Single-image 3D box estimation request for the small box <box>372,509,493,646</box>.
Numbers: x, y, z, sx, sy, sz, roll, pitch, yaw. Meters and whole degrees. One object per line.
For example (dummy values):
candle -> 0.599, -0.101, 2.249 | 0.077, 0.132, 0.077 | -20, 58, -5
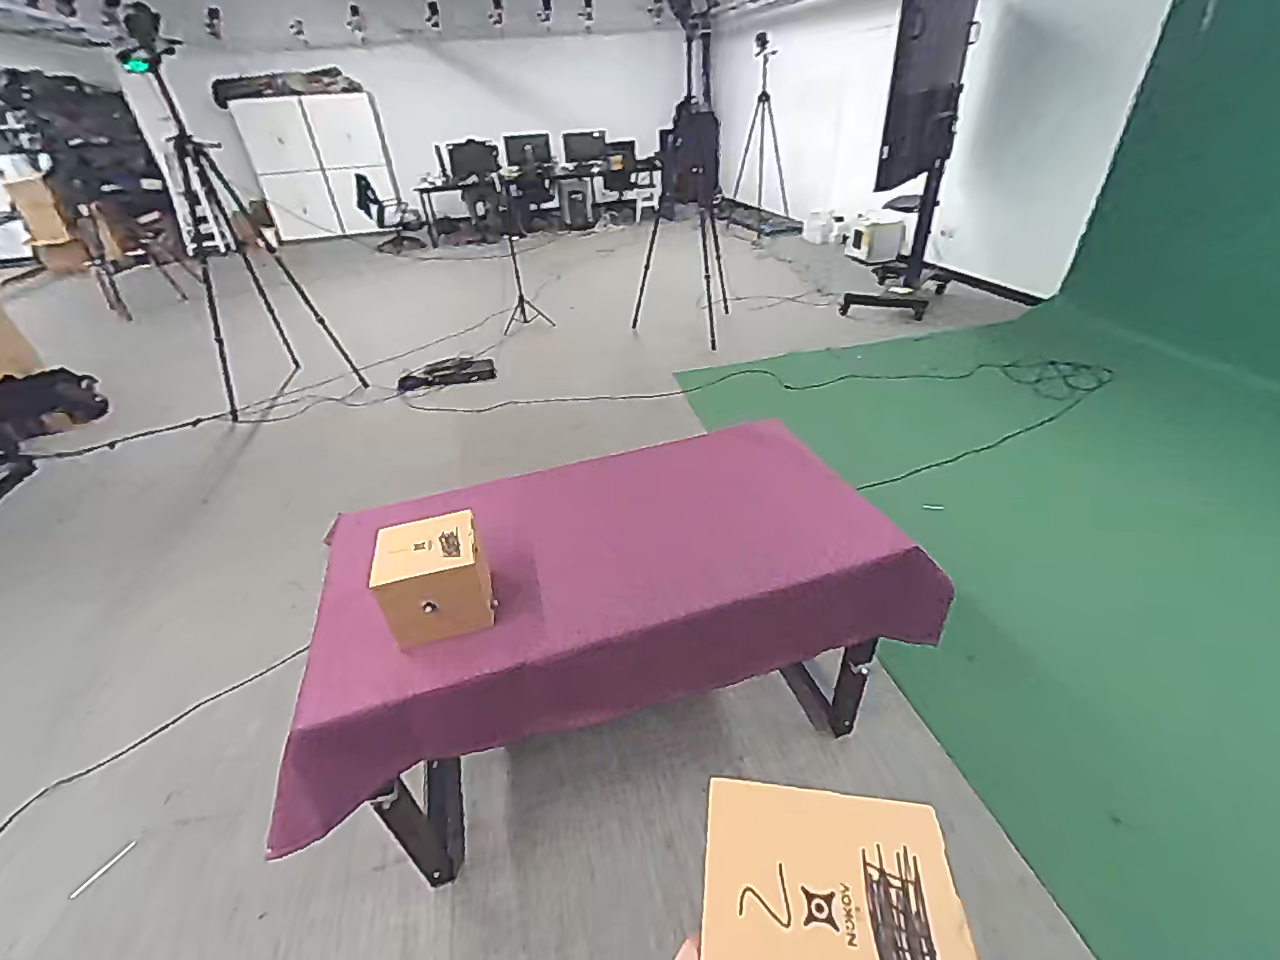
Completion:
small box -> -0.383, 0.184, 1.028 | 0.179, 0.176, 0.168 | -12, 35, -11
